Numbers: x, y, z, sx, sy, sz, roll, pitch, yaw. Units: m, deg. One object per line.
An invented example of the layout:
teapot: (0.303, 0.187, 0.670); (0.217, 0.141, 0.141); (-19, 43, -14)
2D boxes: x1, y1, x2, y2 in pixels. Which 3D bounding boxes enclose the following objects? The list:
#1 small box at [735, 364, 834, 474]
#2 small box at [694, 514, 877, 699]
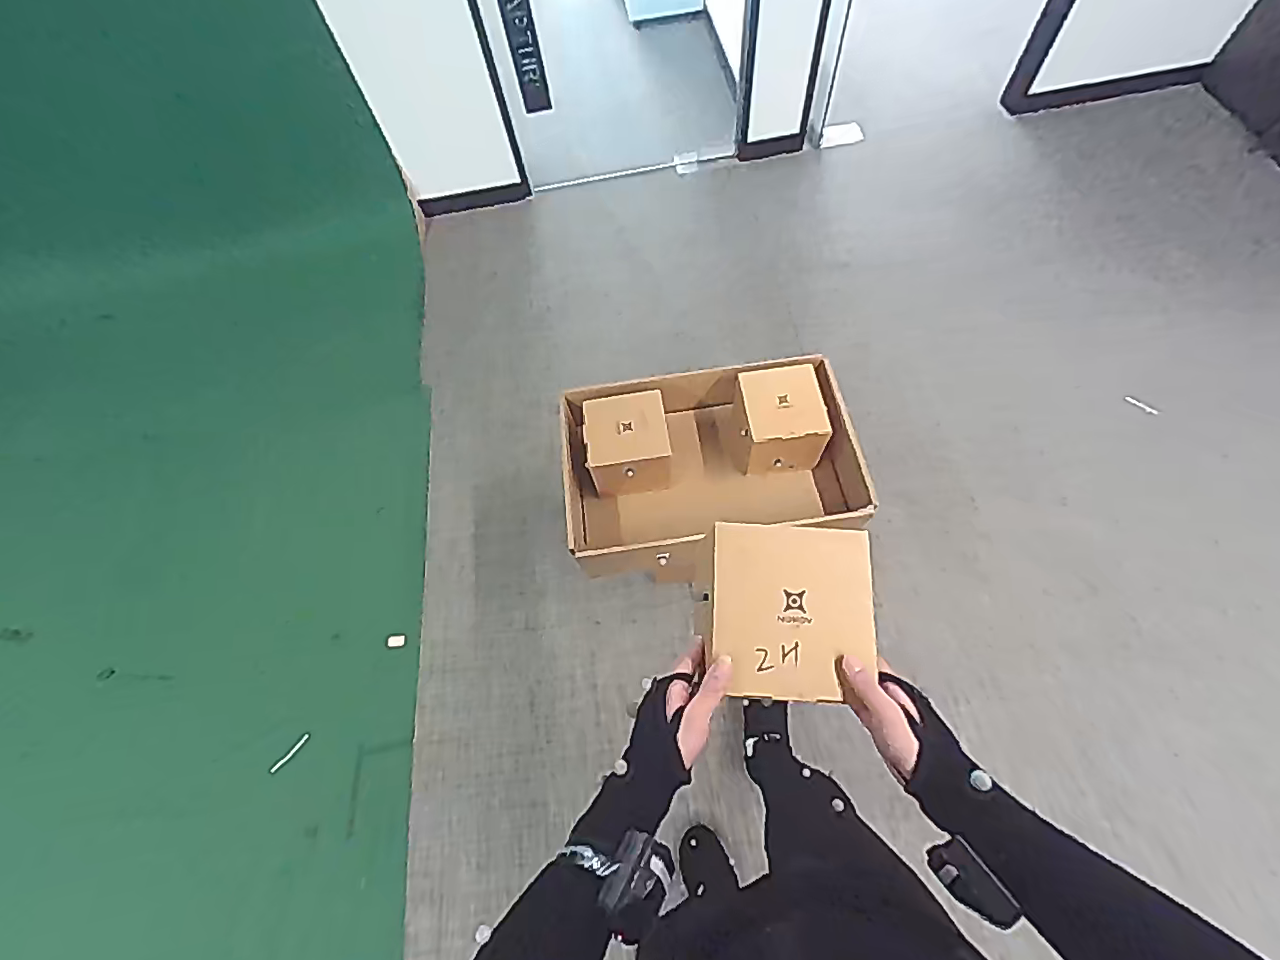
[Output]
small box: (0.313, -0.132, 1.209); (0.168, 0.176, 0.179); (-7, 65, 1)
small box: (0.155, 0.149, 0.628); (0.168, 0.176, 0.179); (4, 73, 1)
